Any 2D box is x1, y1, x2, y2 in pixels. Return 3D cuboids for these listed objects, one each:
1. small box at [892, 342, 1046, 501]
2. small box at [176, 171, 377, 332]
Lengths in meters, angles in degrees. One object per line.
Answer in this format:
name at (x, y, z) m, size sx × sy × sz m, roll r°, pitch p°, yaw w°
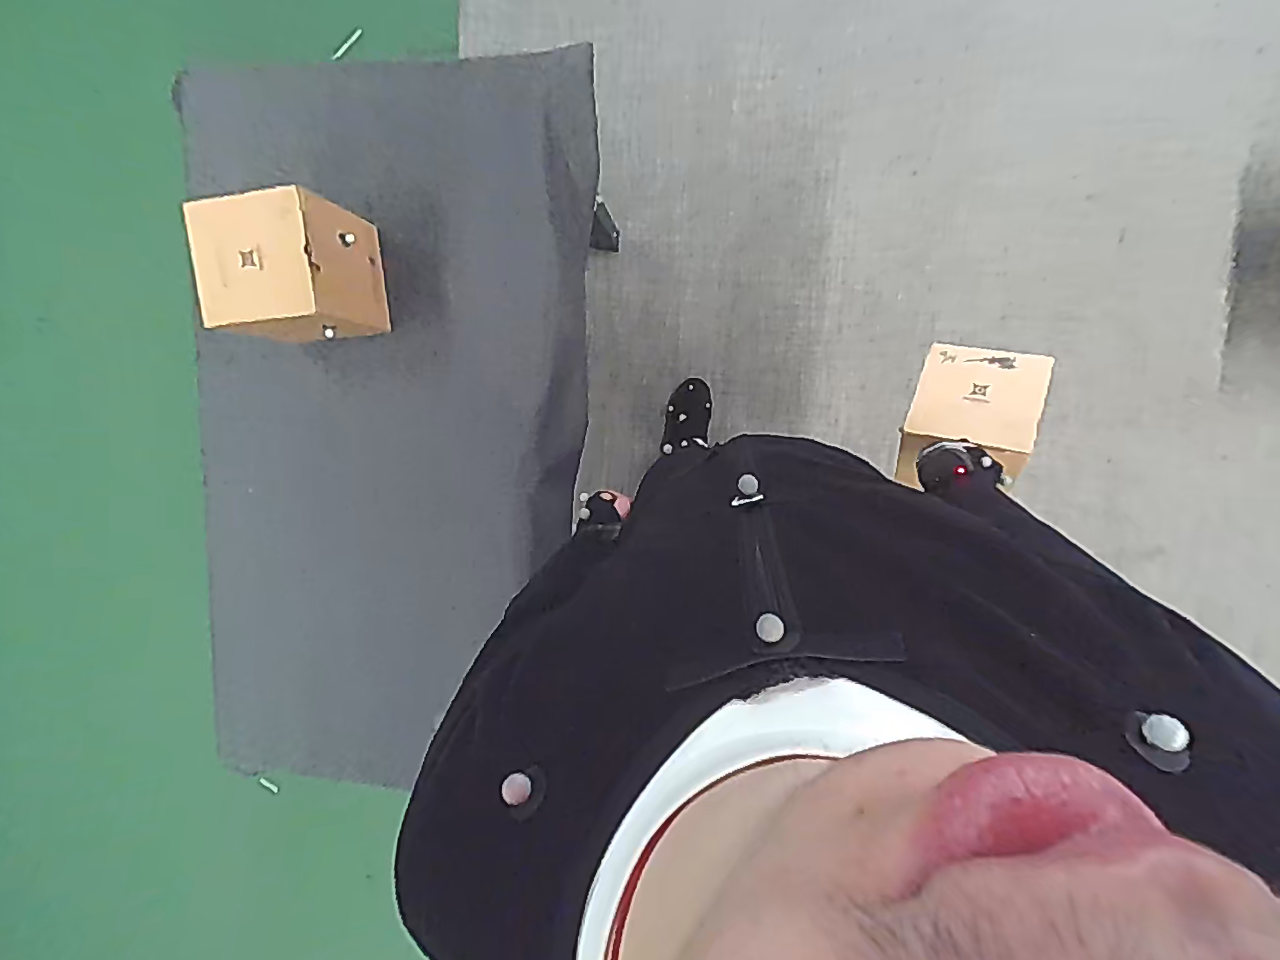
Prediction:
small box at (0.511, -0.089, 0.861) m, size 0.168 × 0.176 × 0.179 m, roll 17°, pitch 69°, yaw 28°
small box at (-0.506, -0.316, 0.783) m, size 0.179 × 0.176 × 0.168 m, roll -4°, pitch 95°, yaw 8°
